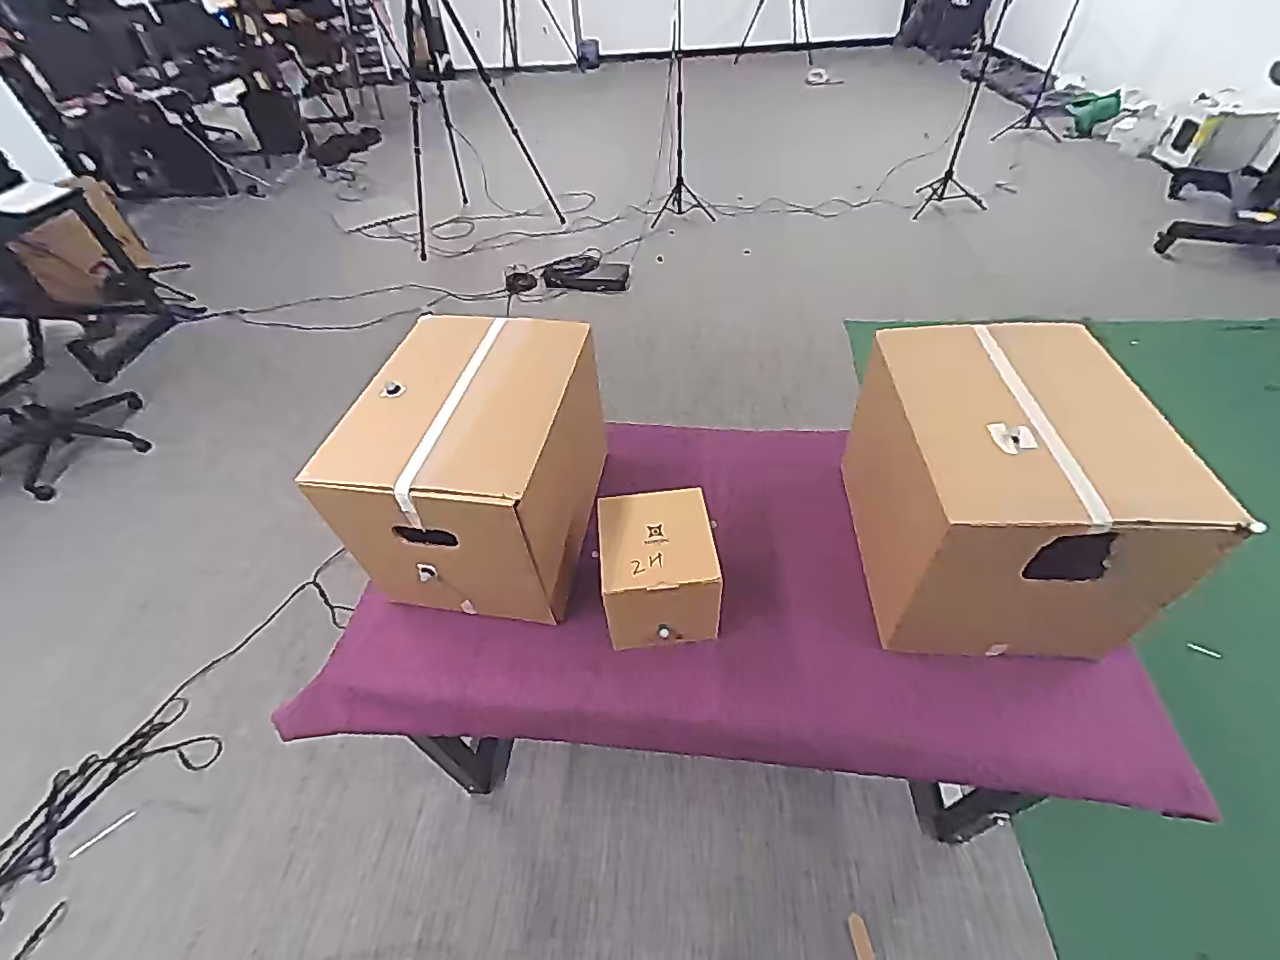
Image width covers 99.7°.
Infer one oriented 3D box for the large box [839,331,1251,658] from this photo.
[{"bbox_3d":[0.523,0.013,0.830,0.320,0.320,0.408,0,47,7],"label":"large box"}]
